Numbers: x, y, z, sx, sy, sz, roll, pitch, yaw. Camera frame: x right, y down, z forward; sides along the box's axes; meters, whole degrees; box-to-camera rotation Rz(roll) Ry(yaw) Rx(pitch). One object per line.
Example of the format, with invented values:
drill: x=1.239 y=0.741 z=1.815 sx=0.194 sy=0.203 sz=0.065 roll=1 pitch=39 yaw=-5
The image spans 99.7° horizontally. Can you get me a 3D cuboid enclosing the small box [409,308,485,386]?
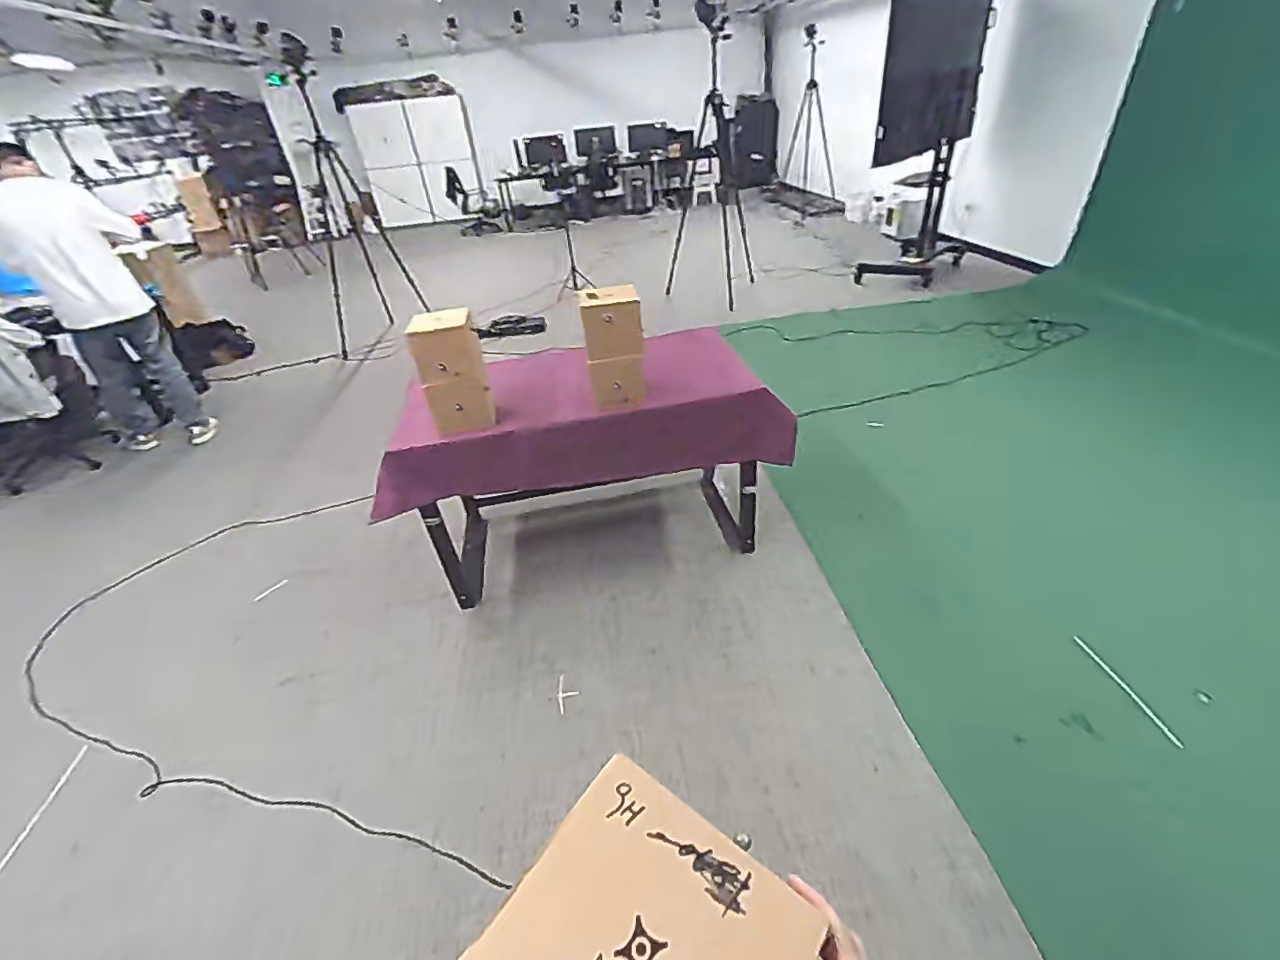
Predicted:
small box: x=-0.571 y=-0.400 z=1.624 sx=0.168 sy=0.176 sz=0.179 roll=-10 pitch=36 yaw=-5

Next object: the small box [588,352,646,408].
small box: x=-0.074 y=-0.342 z=1.751 sx=0.168 sy=0.176 sz=0.179 roll=-8 pitch=35 yaw=-3

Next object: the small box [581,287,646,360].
small box: x=-0.082 y=-0.479 z=1.659 sx=0.179 sy=0.176 sz=0.168 roll=-7 pitch=35 yaw=-3
